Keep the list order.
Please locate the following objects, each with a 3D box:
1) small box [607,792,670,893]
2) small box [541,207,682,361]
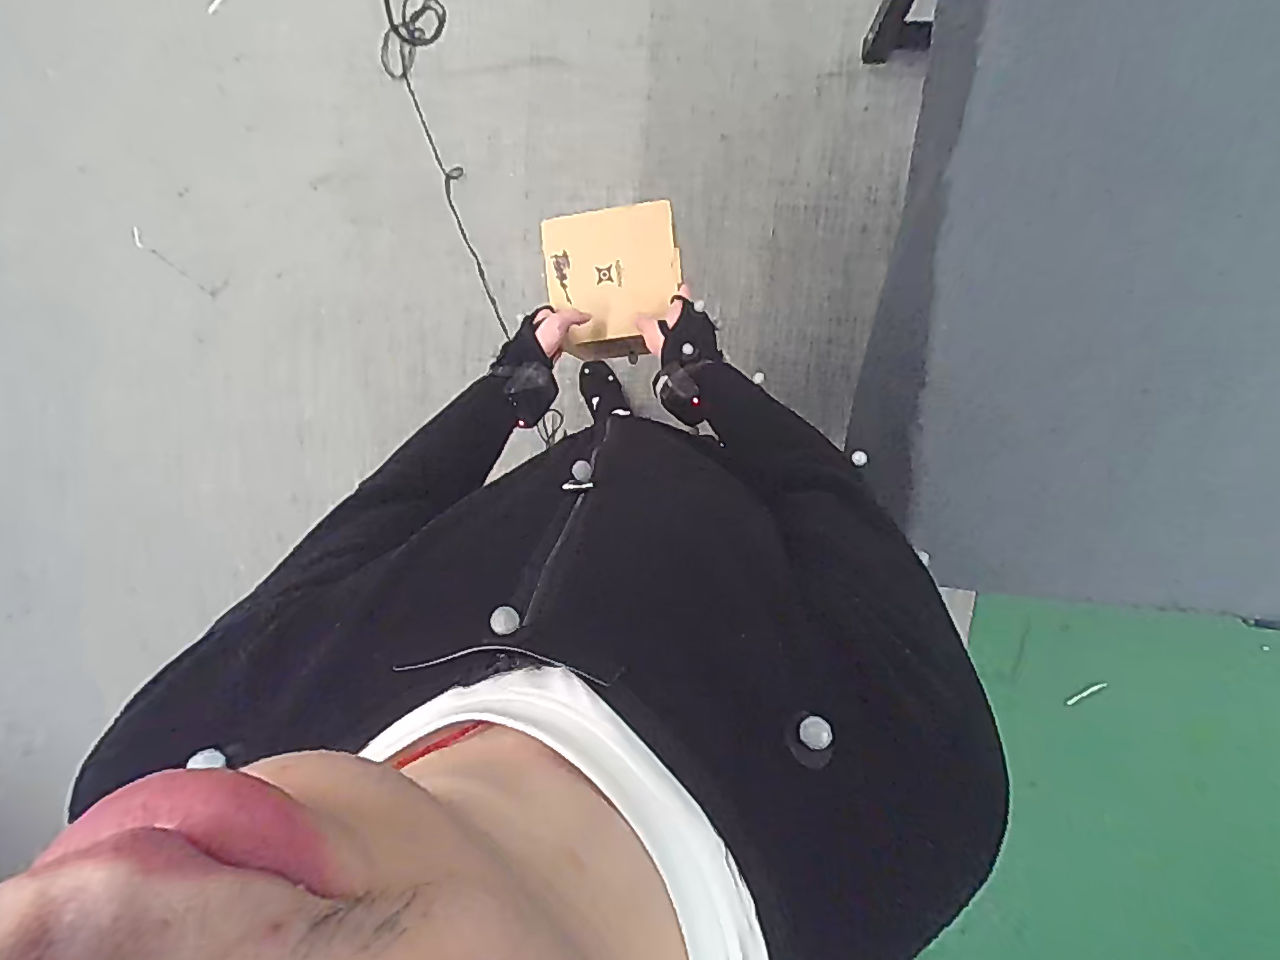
[{"bbox_3d":[0.001,1.085,1.625,0.168,0.176,0.179,7,98,2],"label":"small box"},{"bbox_3d":[-0.030,-0.271,0.785,0.179,0.176,0.168,-4,95,7],"label":"small box"}]
